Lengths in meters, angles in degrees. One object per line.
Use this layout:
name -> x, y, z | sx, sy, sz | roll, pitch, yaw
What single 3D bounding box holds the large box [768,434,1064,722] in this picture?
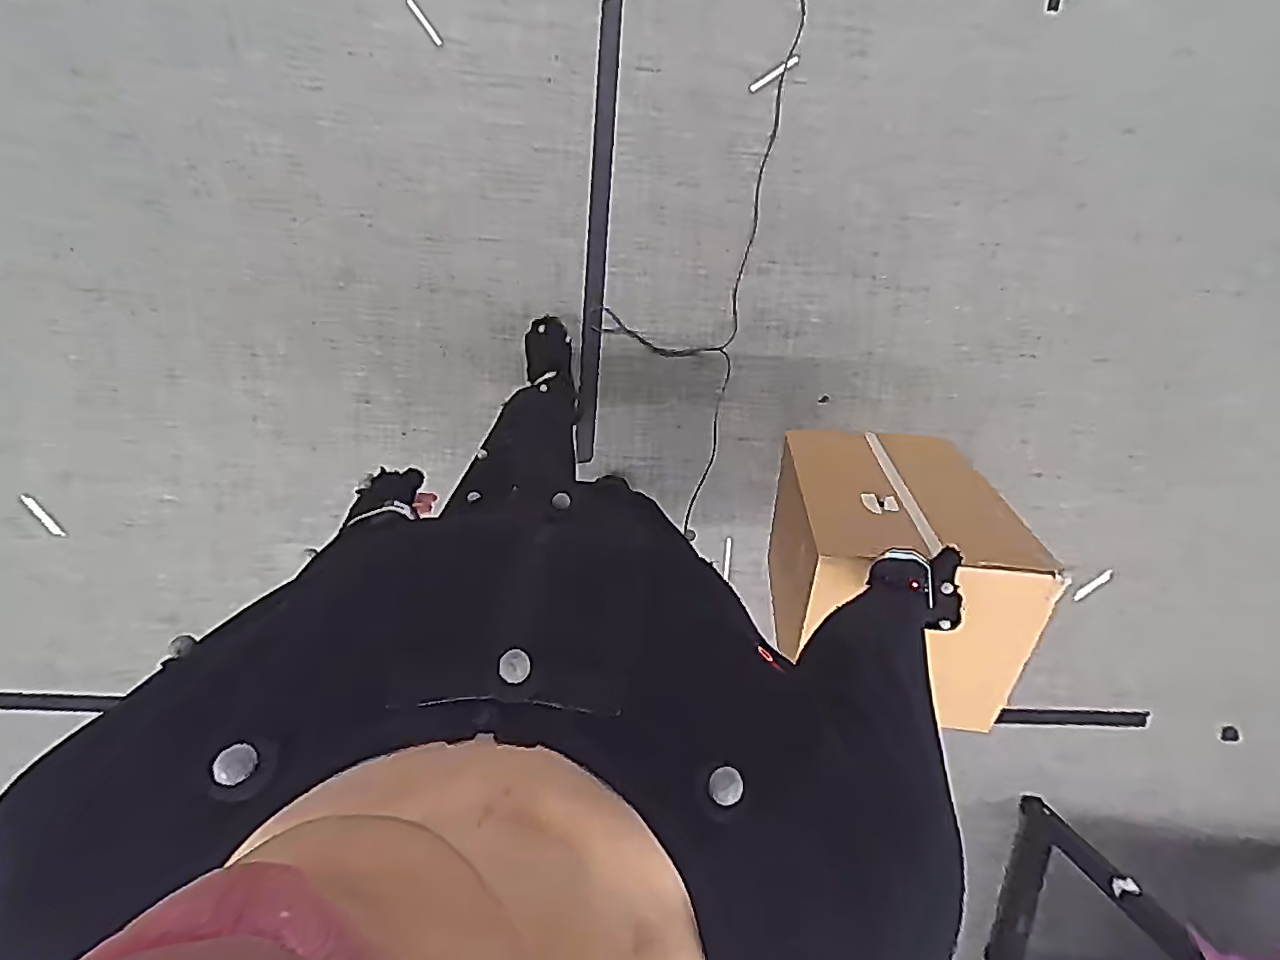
large box -> 0.420, 0.148, 0.960 | 0.320, 0.408, 0.320 | 3, 121, 6
